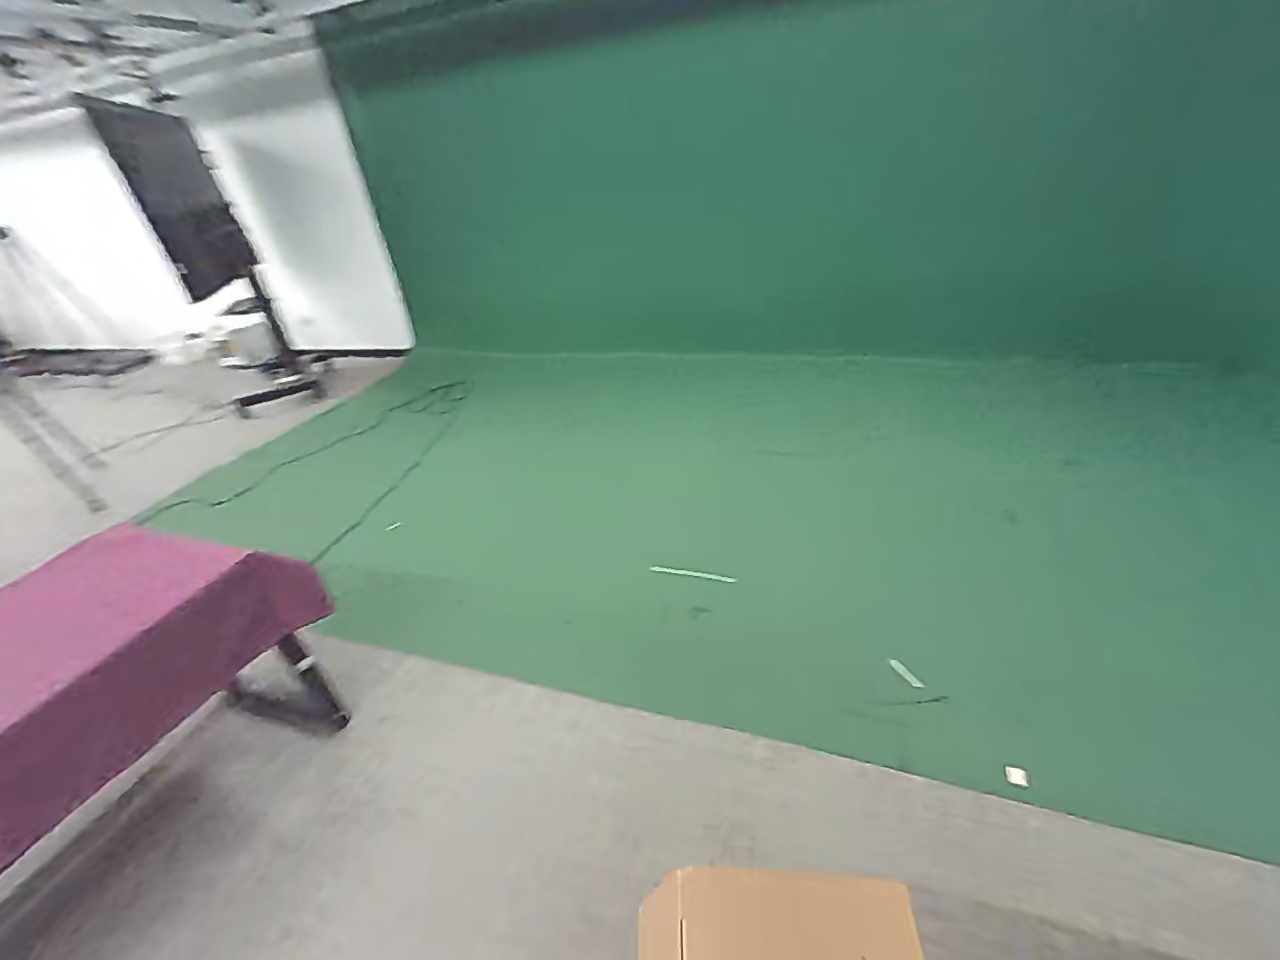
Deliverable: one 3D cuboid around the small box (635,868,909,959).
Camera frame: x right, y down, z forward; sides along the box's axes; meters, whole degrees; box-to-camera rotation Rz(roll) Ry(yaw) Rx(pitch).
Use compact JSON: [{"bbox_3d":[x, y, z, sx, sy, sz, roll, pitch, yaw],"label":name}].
[{"bbox_3d":[0.089,0.405,0.394,0.179,0.176,0.168,7,43,-6],"label":"small box"}]
